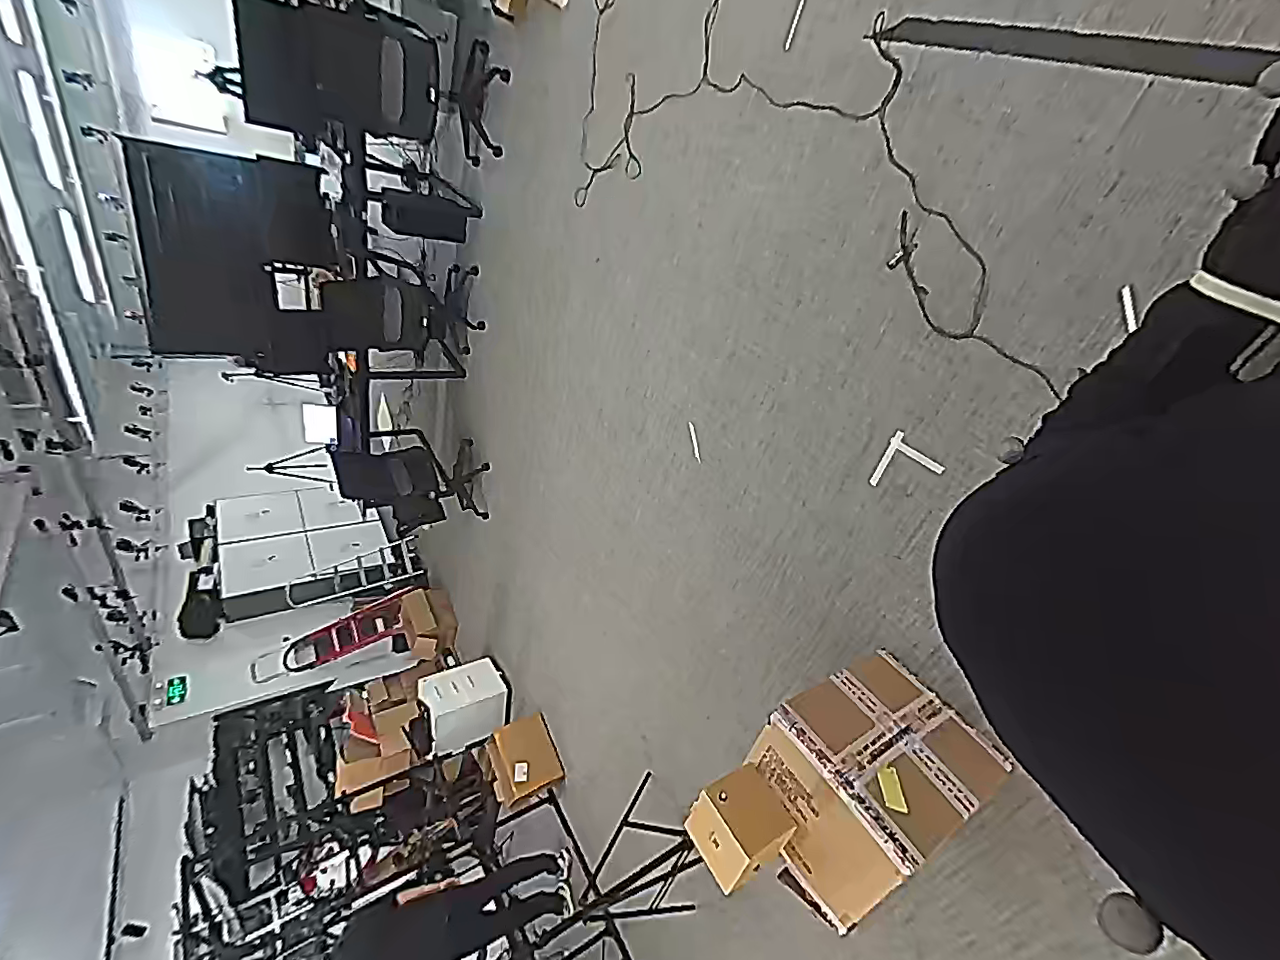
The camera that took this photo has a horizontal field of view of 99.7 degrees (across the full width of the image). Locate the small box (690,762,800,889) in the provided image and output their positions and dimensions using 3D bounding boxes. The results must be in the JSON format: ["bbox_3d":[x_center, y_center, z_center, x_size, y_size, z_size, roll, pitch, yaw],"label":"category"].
[{"bbox_3d":[0.256,0.832,1.317,0.179,0.176,0.168,46,131,43],"label":"small box"}]
